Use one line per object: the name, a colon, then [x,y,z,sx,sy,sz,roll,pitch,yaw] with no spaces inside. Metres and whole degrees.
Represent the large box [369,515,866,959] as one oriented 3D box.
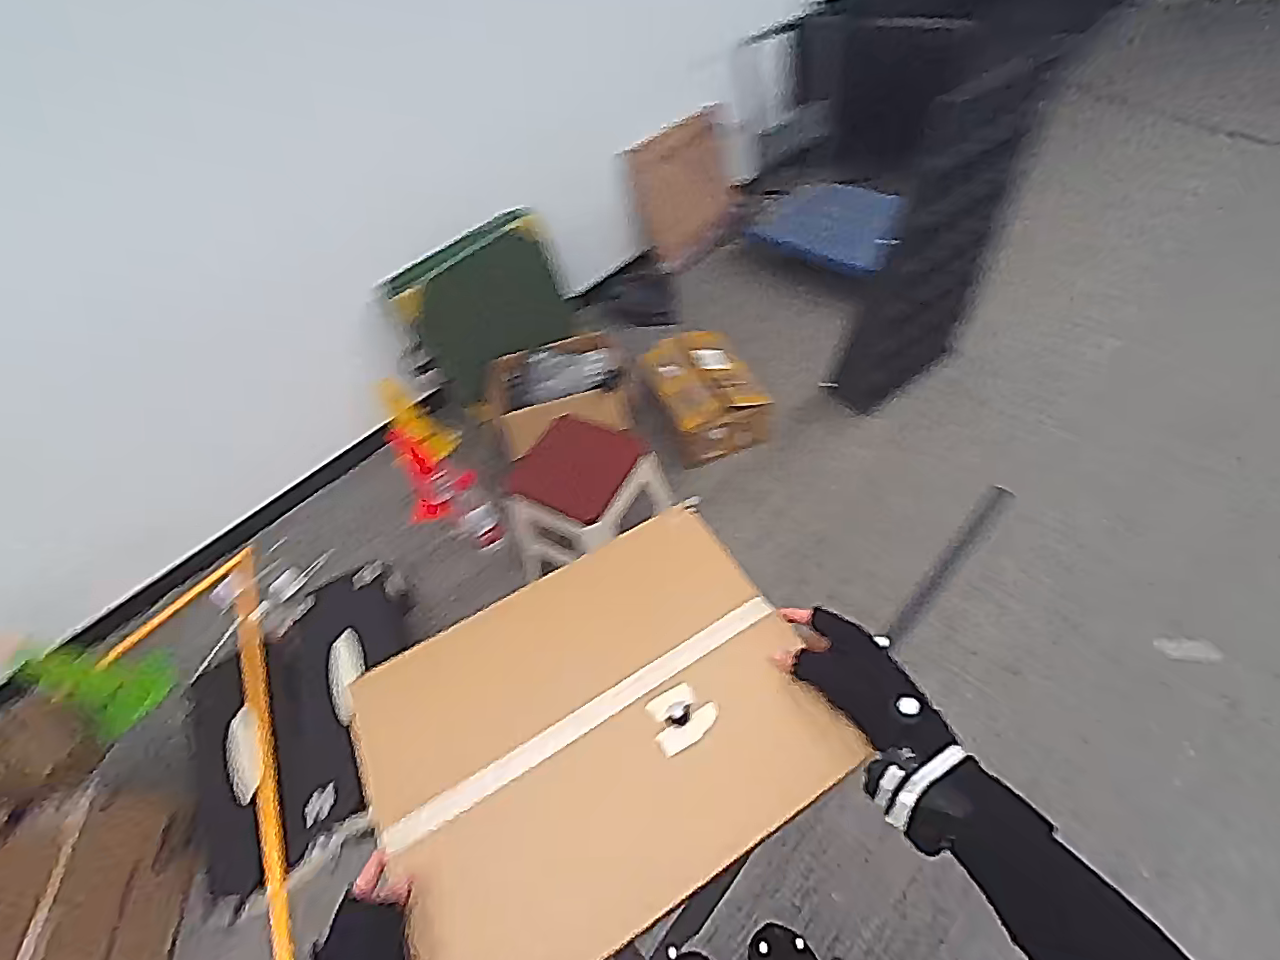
large box: [-0.024,0.320,0.637,0.408,0.320,0.320,-27,54,-14]
